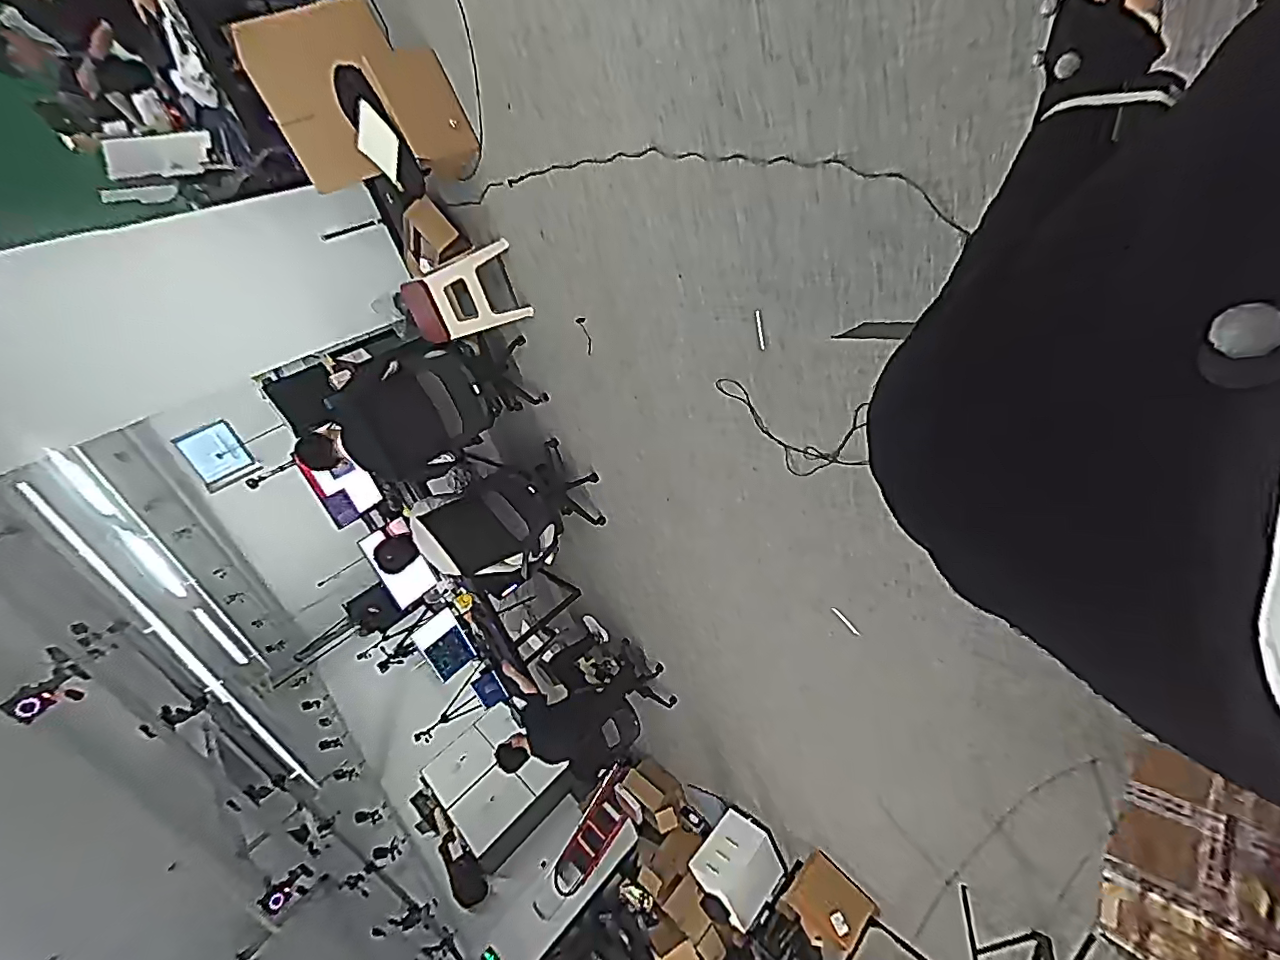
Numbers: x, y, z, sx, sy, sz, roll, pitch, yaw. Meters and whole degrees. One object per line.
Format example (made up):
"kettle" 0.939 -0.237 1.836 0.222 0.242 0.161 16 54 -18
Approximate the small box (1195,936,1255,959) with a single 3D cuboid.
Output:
"small box" 1.344 1.185 1.199 0.168 0.176 0.179 11 125 47
